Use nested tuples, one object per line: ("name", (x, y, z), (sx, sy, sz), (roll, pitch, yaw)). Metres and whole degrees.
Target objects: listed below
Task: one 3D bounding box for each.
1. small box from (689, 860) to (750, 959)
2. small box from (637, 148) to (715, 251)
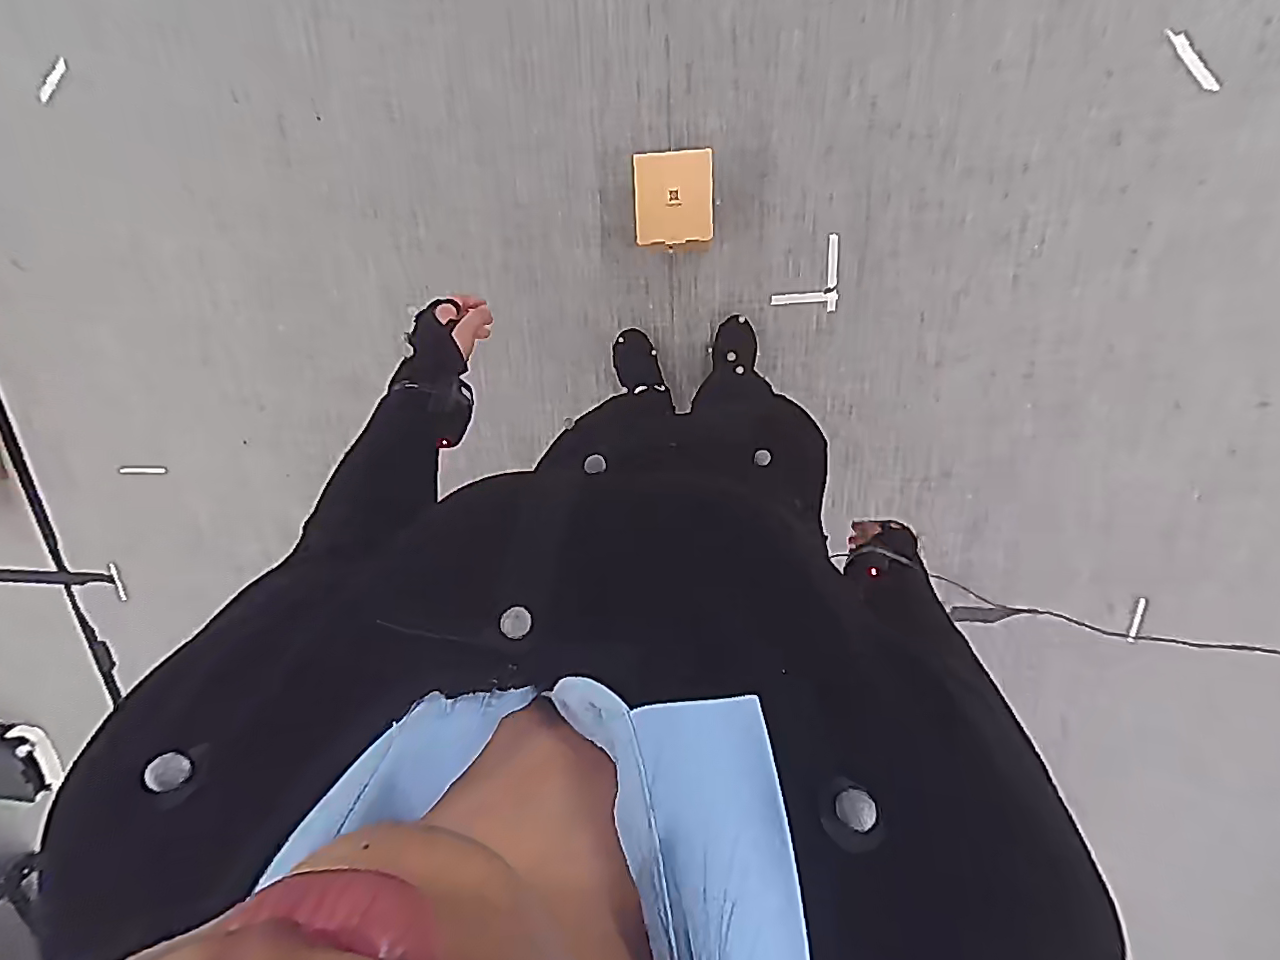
("small box", (0.233, 1.285, 1.615), (0.168, 0.176, 0.179), (2, 108, 4))
("small box", (0.083, -0.621, 1.217), (0.168, 0.176, 0.179), (-2, 108, 6))
